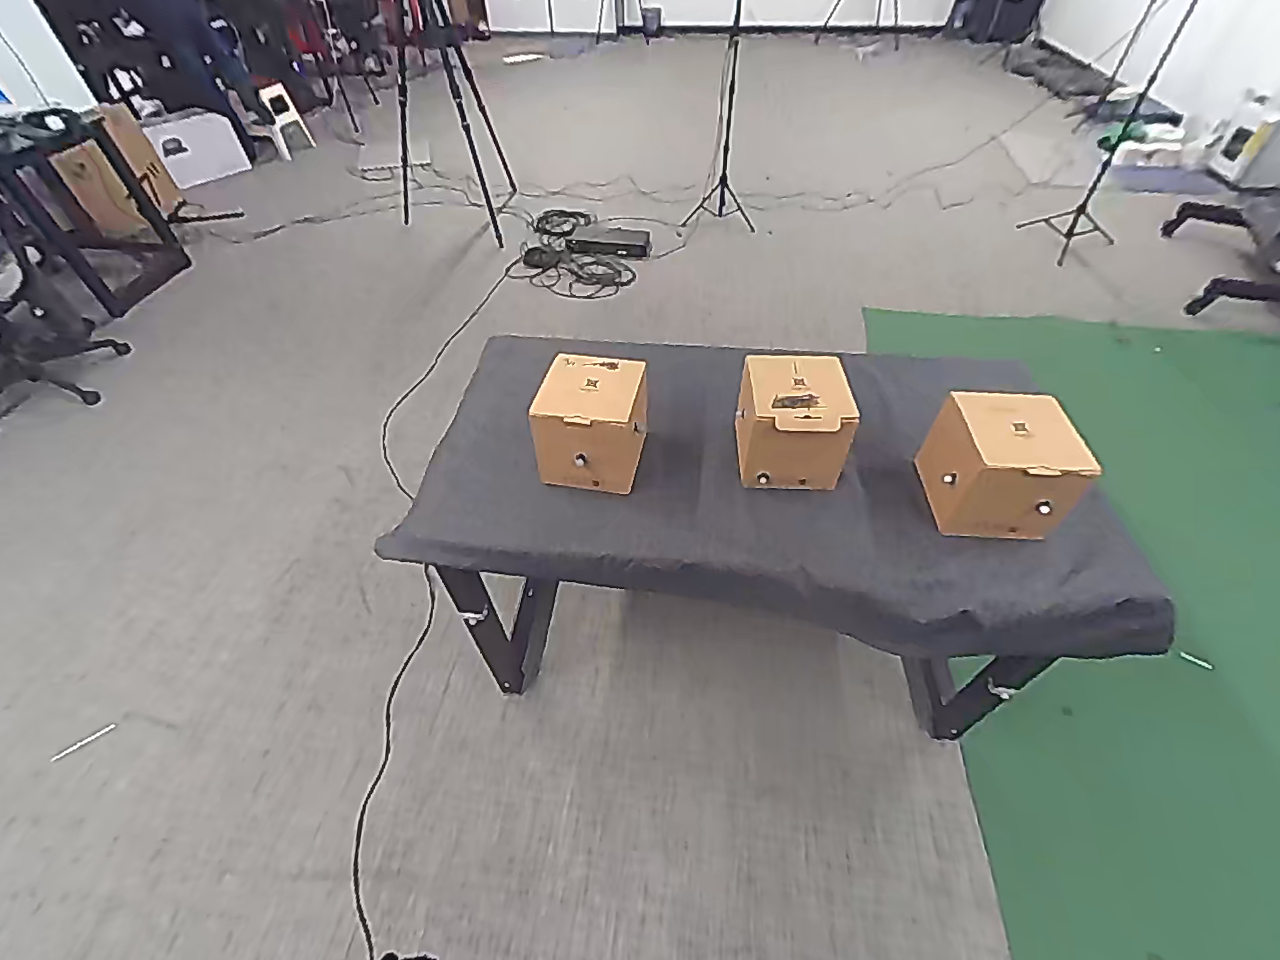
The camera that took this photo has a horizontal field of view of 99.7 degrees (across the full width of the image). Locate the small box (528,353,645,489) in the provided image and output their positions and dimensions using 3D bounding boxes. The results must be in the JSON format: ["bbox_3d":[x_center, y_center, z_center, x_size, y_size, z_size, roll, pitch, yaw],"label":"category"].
[{"bbox_3d":[-0.084,-0.105,0.975,0.168,0.176,0.179,7,48,8],"label":"small box"}]

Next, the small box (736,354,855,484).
[{"bbox_3d":[0.267,-0.108,0.971,0.168,0.176,0.179,2,47,3],"label":"small box"}]

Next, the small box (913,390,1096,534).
[{"bbox_3d":[0.582,-0.028,0.894,0.168,0.176,0.179,3,47,3],"label":"small box"}]
